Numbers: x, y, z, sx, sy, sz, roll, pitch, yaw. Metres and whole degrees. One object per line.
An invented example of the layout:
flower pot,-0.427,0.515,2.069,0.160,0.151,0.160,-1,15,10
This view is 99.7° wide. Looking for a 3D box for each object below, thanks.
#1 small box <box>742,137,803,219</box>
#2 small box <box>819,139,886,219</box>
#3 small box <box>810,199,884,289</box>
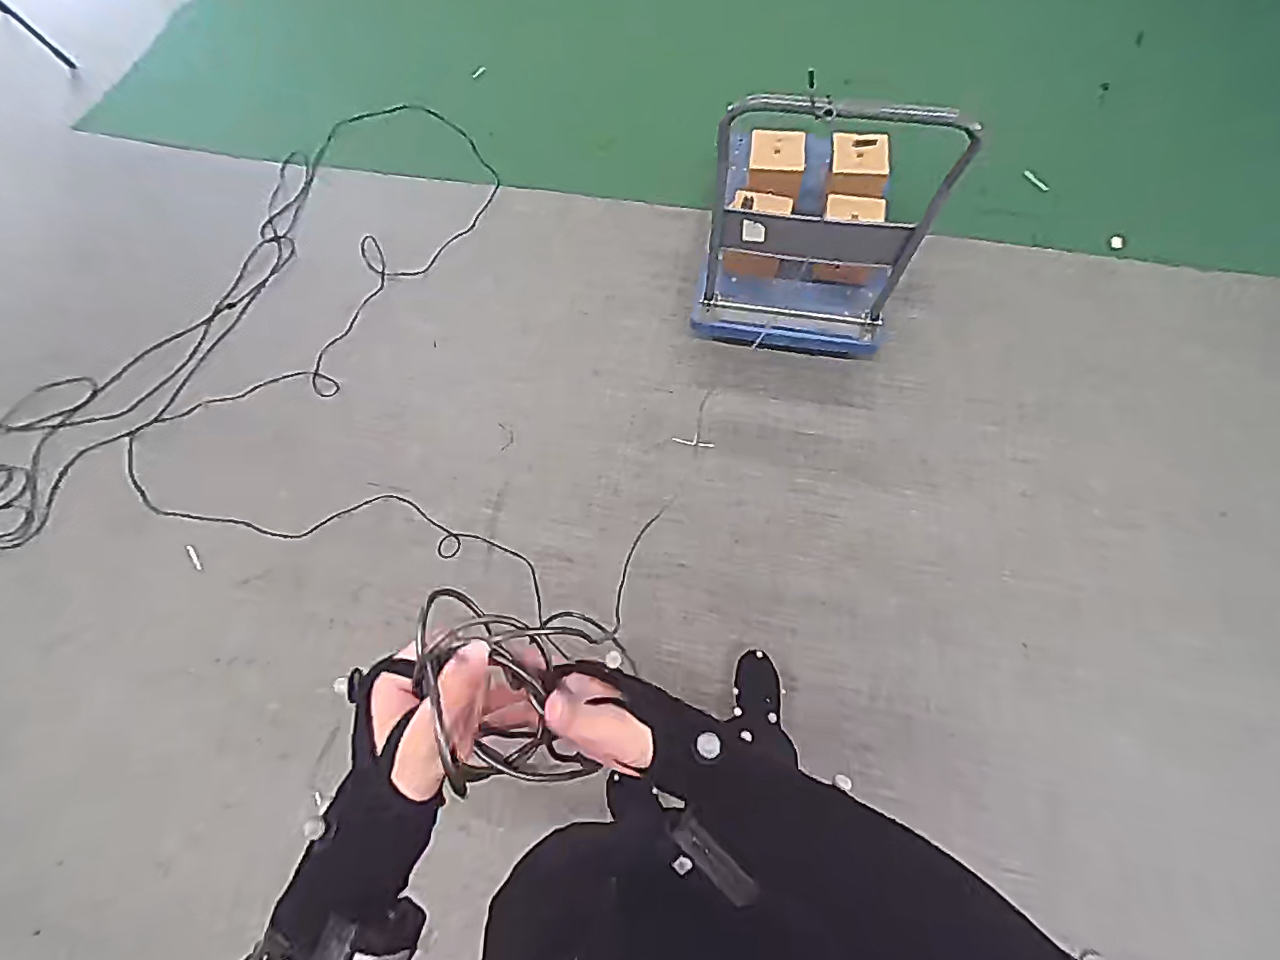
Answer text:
small box,0.431,-0.986,1.772,0.168,0.176,0.179,6,68,6
small box,0.680,-0.962,1.745,0.168,0.176,0.179,6,69,7
small box,0.626,-0.717,1.646,0.168,0.176,0.179,10,69,8
